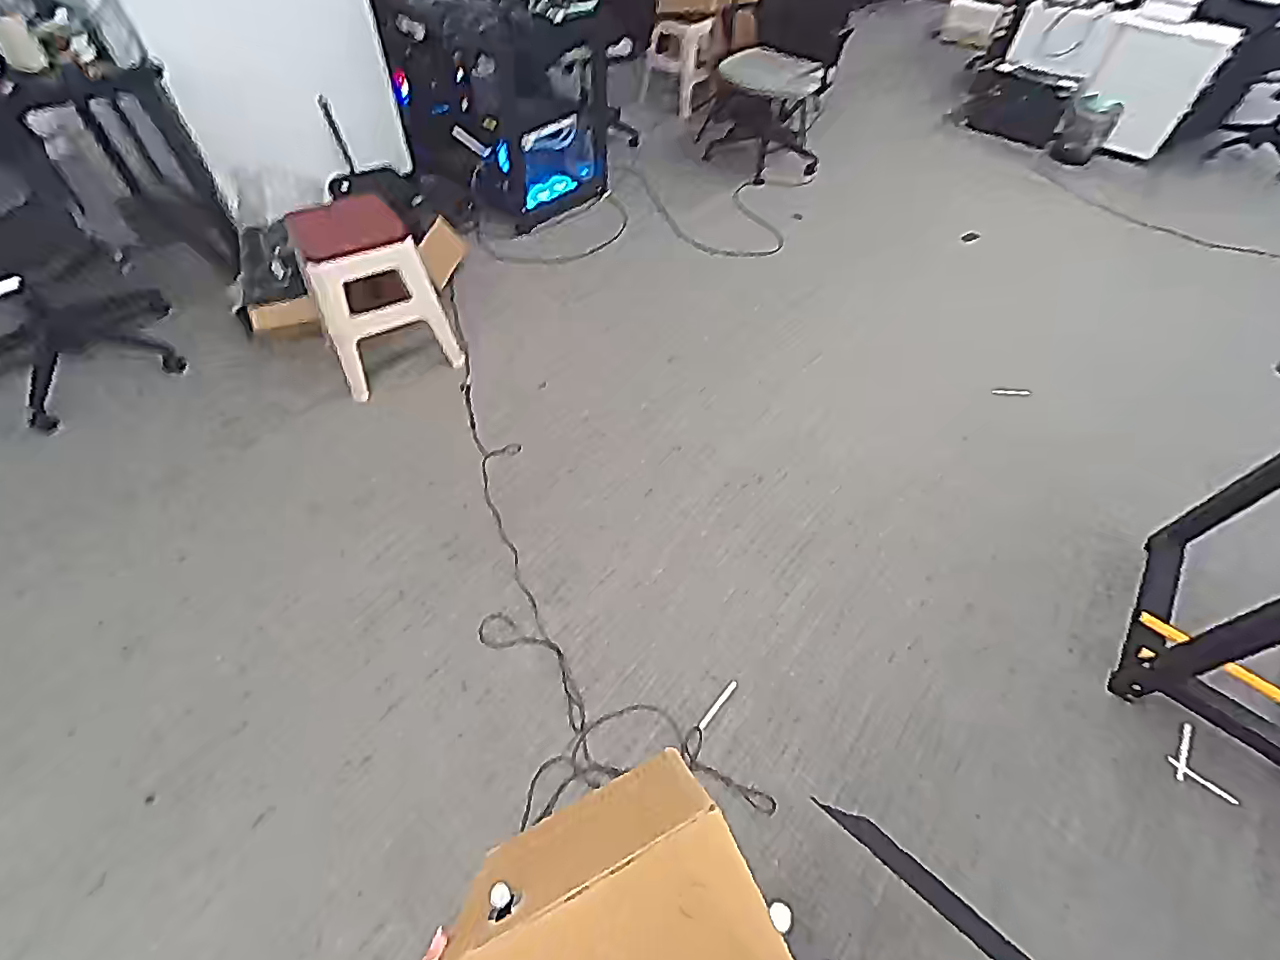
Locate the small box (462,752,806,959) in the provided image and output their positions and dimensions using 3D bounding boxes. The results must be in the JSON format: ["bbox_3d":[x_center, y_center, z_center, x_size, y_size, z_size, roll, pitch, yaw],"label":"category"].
[{"bbox_3d":[0.004,0.310,0.352,0.179,0.176,0.168,-26,79,-10],"label":"small box"}]
